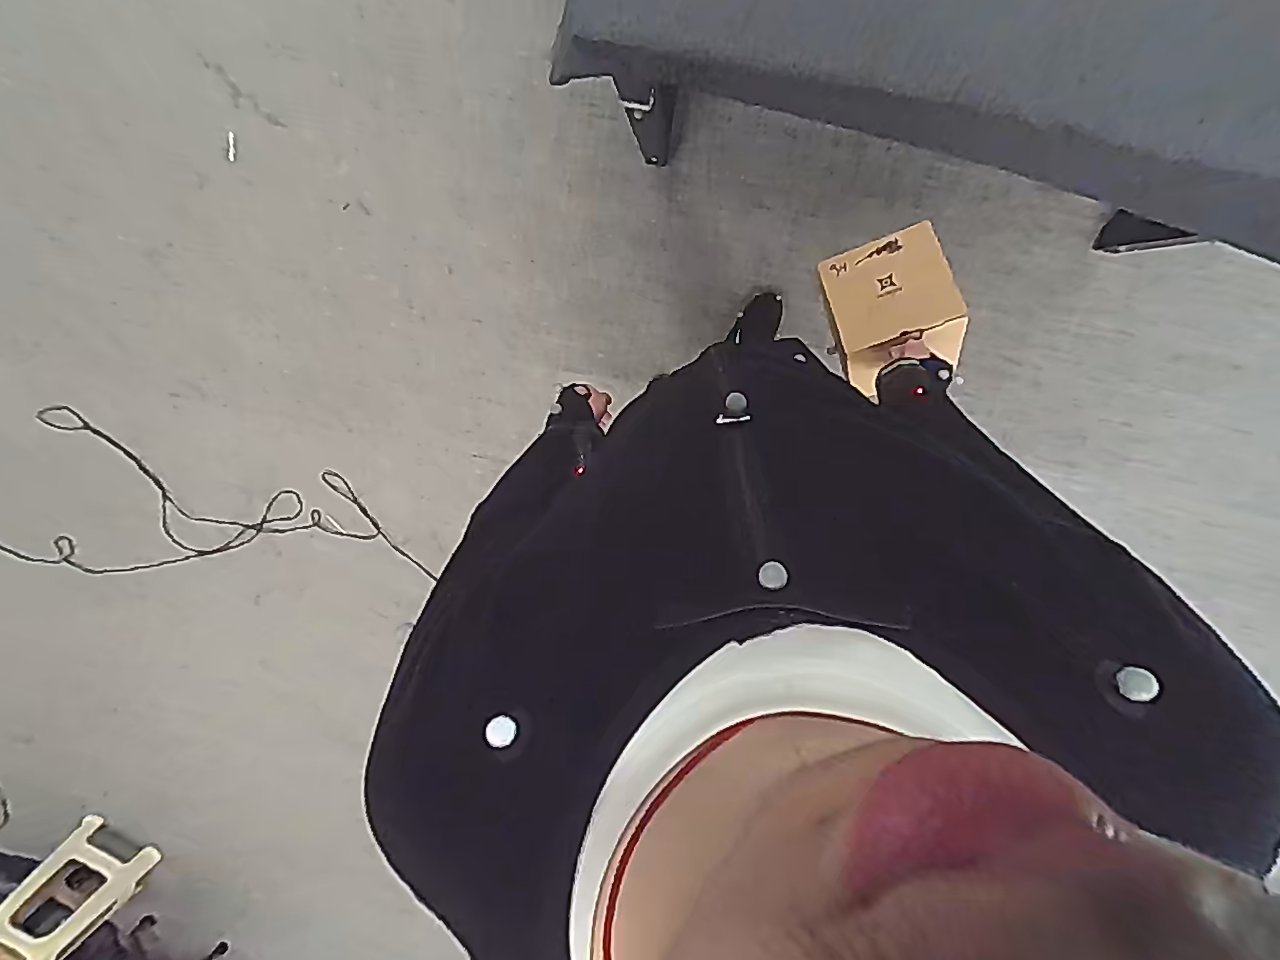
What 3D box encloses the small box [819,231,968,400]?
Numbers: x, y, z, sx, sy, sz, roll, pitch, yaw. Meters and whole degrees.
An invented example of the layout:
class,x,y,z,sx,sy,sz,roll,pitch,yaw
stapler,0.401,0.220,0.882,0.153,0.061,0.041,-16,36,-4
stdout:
class,x,y,z,sx,sy,sz,roll,pitch,yaw
small box,0.407,-0.248,0.872,0.168,0.176,0.179,-20,64,21
